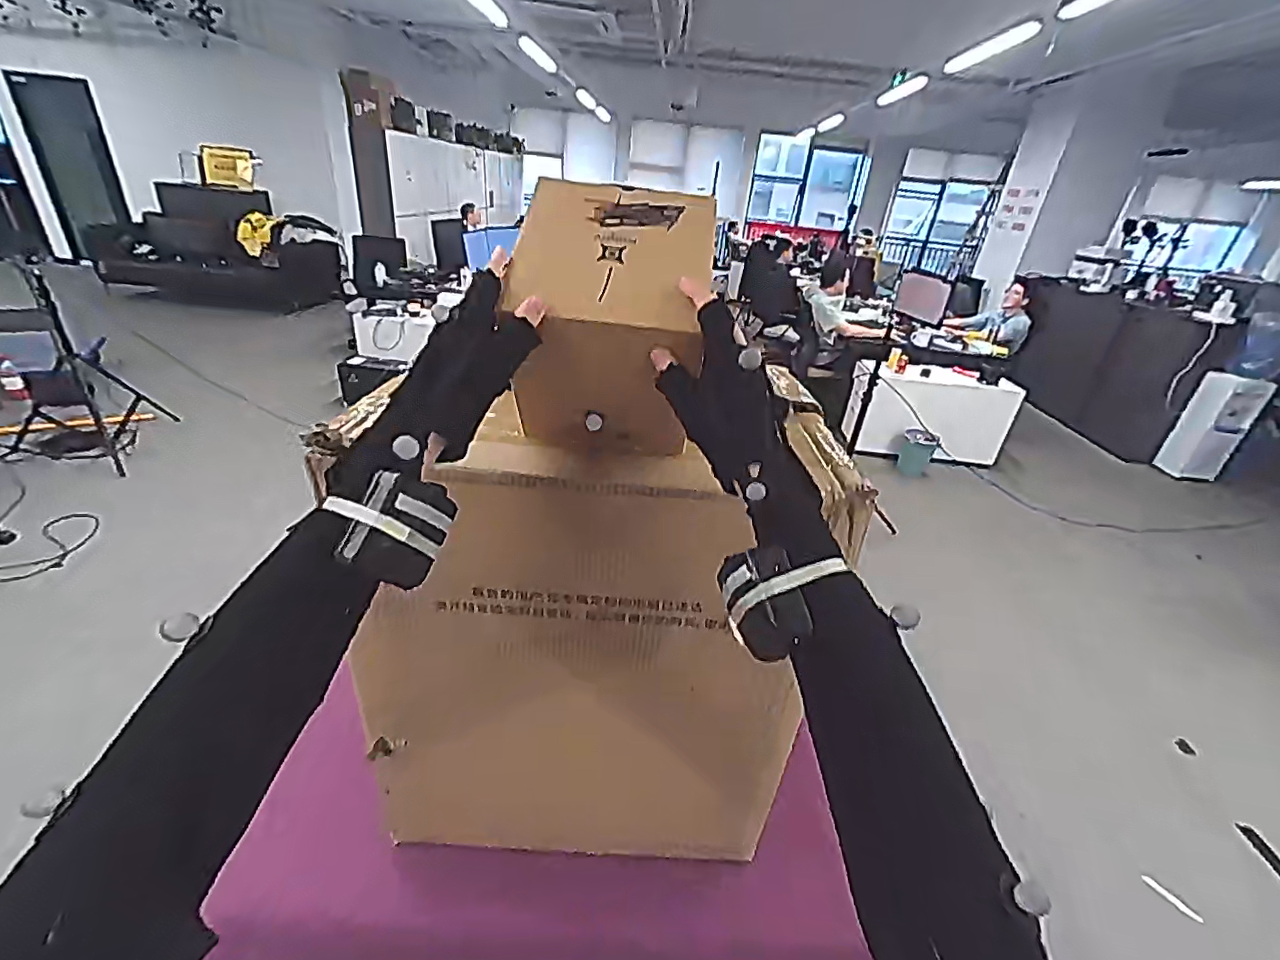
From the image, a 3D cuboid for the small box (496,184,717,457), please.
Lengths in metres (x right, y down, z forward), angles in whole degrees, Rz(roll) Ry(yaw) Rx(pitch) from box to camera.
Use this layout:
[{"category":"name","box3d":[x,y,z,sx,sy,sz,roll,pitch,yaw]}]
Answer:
[{"category":"small box","box3d":[-0.024,-0.147,0.520,0.168,0.176,0.179,7,59,2]}]
